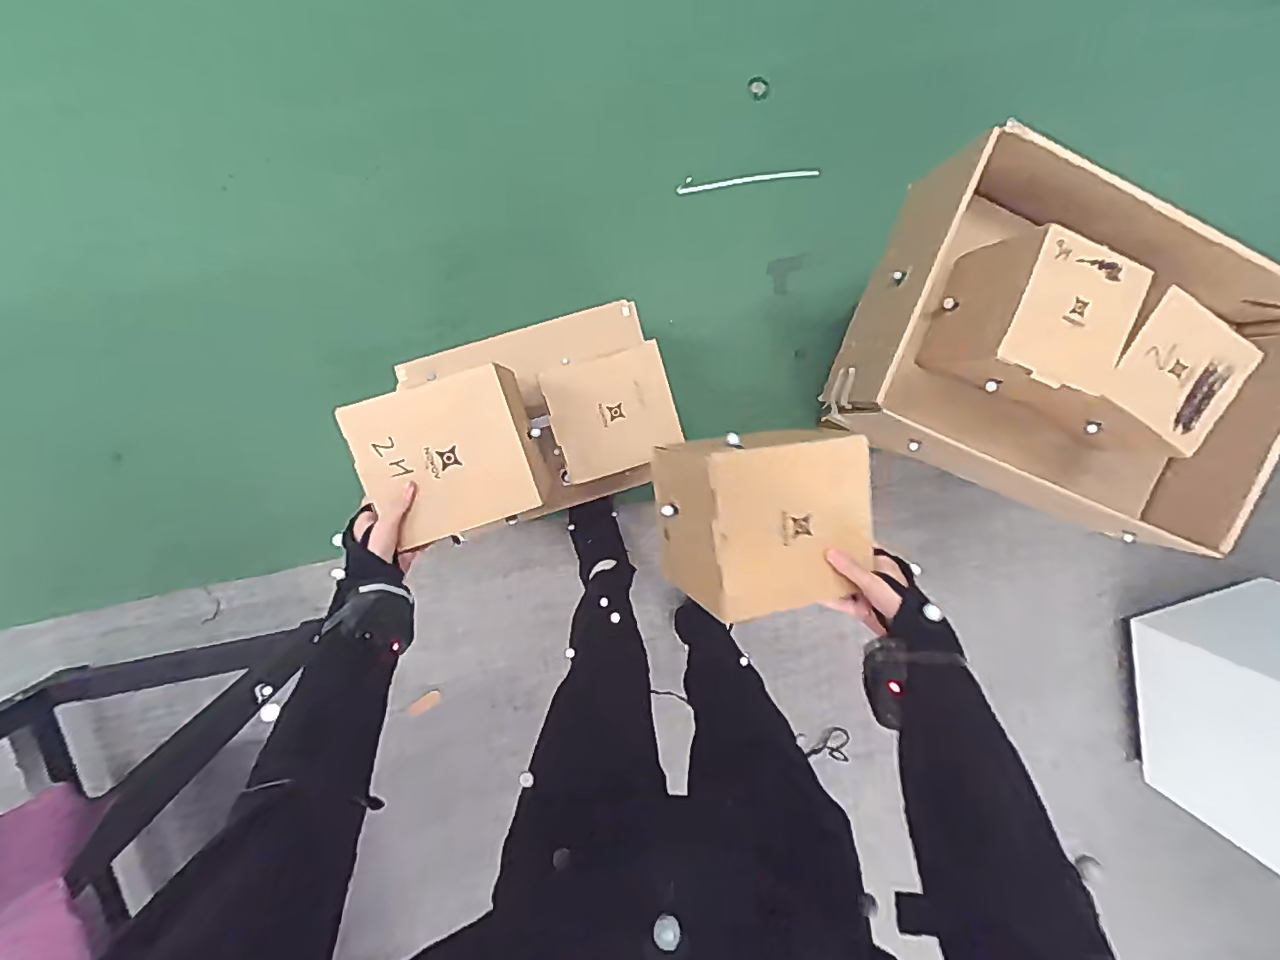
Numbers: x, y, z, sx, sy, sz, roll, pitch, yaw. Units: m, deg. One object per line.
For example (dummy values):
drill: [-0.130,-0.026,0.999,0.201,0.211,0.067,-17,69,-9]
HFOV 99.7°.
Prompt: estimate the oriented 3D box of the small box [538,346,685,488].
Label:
small box: [-0.044,-0.098,0.841,0.179,0.176,0.168,-17,100,-3]

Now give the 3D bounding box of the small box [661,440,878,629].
small box: [0.138,0.046,0.607,0.179,0.176,0.168,-7,97,-16]

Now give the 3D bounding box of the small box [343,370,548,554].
small box: [-0.218,-0.030,0.665,0.179,0.176,0.168,-18,98,-3]
